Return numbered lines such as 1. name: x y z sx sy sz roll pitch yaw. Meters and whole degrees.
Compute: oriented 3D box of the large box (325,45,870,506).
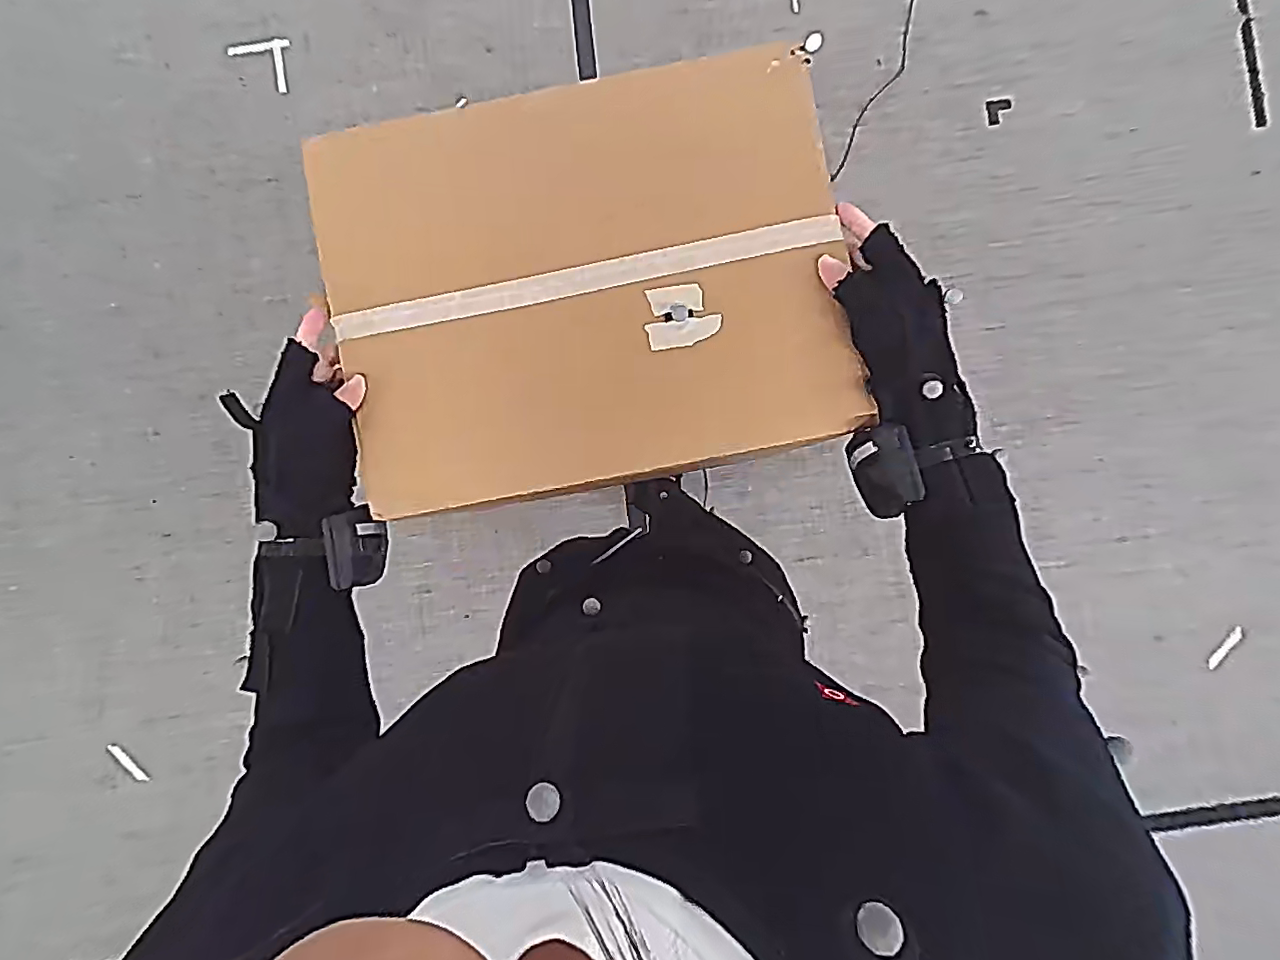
1. large box: -0.037 -0.164 0.588 0.408 0.320 0.320 -11 90 0
